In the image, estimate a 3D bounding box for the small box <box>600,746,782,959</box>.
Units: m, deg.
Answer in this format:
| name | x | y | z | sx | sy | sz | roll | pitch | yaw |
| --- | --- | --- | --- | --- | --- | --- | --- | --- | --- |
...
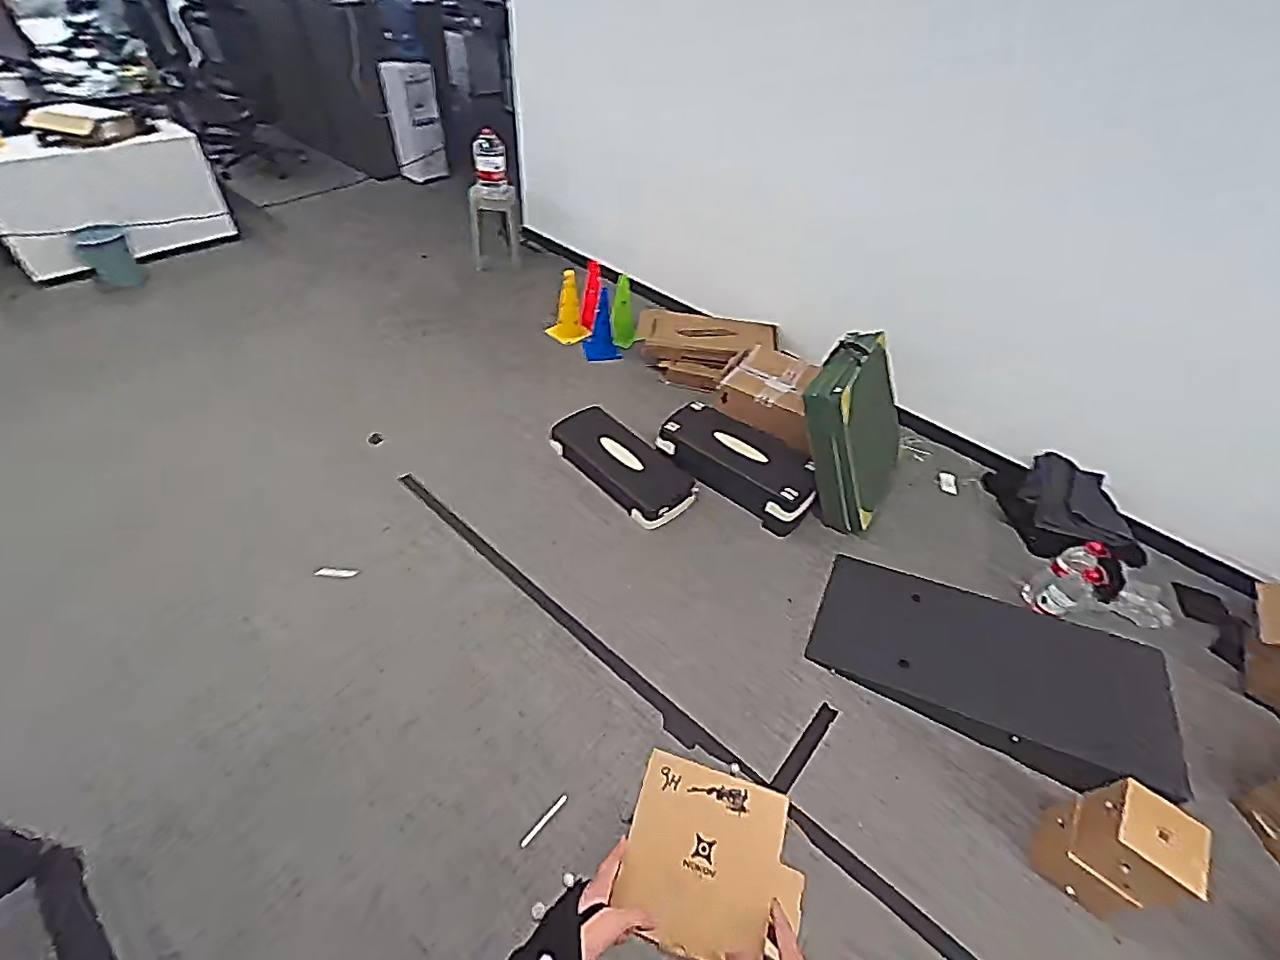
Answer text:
| name | x | y | z | sx | sy | sz | roll | pitch | yaw |
| --- | --- | --- | --- | --- | --- | --- | --- | --- | --- |
| small box | 0.062 | 0.446 | 0.664 | 0.168 | 0.176 | 0.179 | 15 | 64 | 8 |
